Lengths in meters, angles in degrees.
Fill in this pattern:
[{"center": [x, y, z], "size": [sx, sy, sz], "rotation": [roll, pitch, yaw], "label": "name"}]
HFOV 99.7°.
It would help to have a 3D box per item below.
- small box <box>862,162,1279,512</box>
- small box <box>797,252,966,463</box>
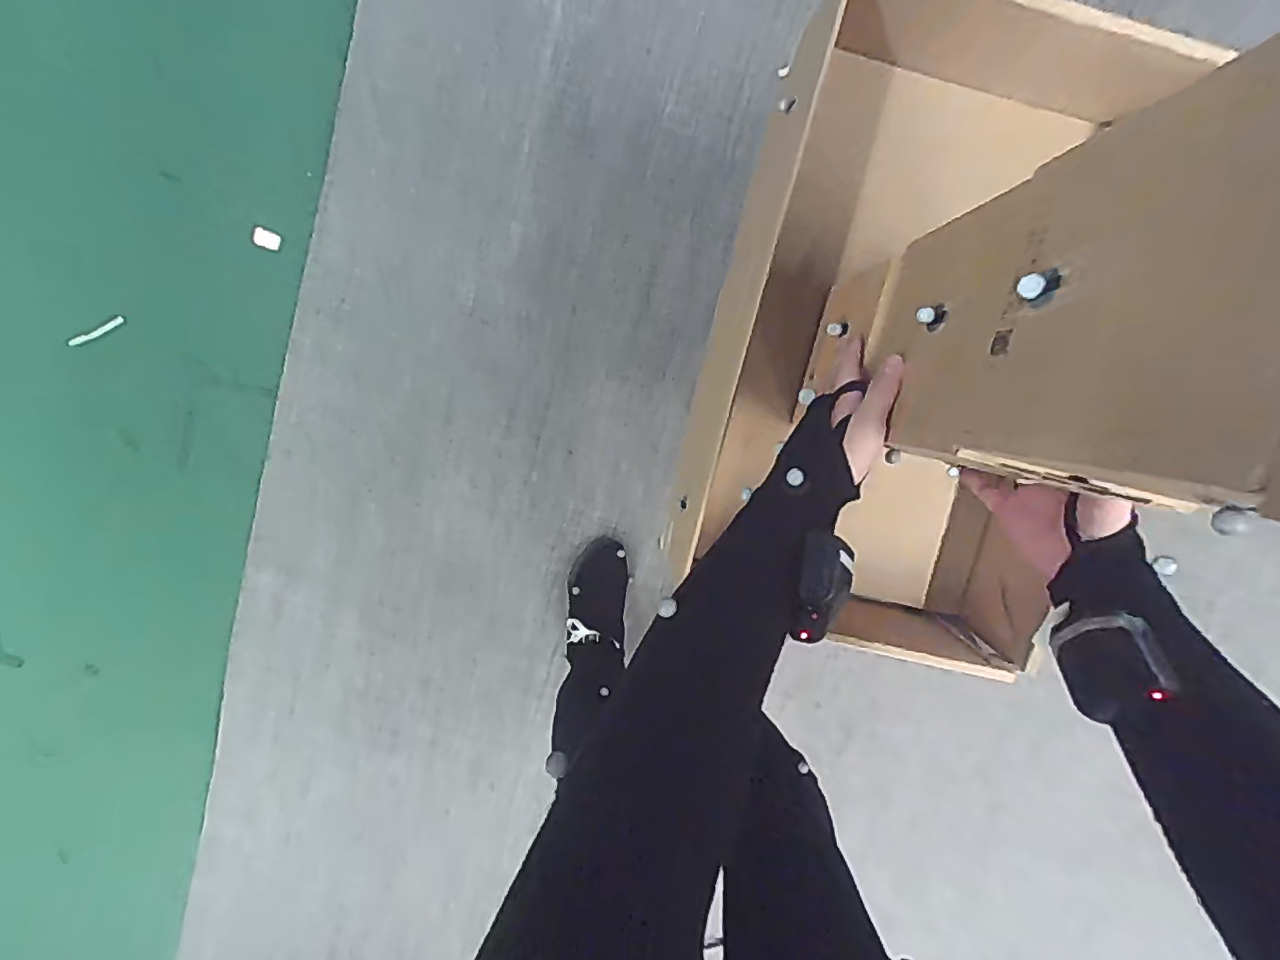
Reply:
[{"center": [0.292, -0.093, 0.405], "size": [0.168, 0.176, 0.179], "rotation": [14, 98, -4], "label": "small box"}, {"center": [0.285, -0.115, 0.567], "size": [0.179, 0.176, 0.168], "rotation": [13, 98, -4], "label": "small box"}]
